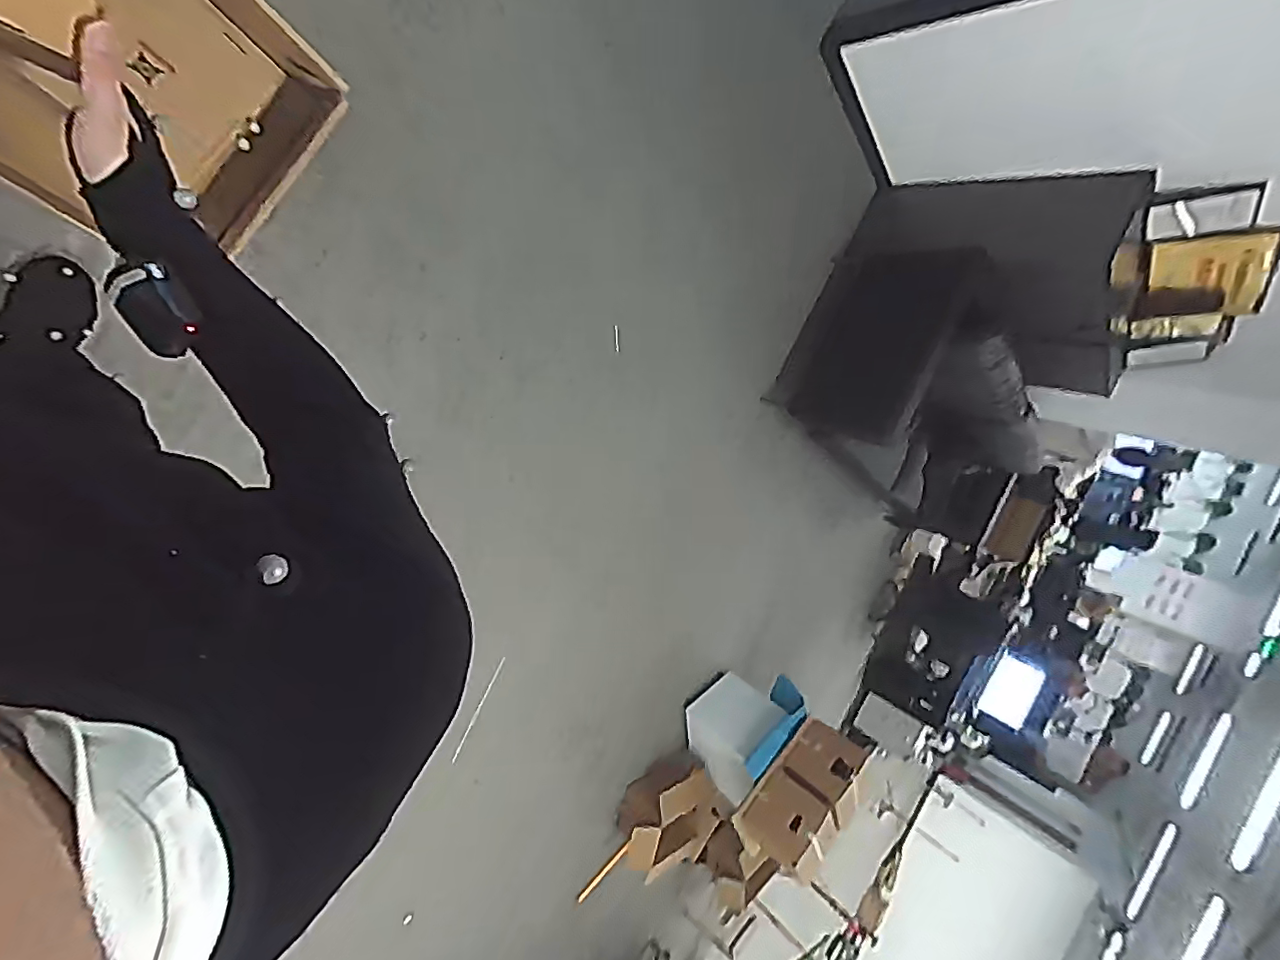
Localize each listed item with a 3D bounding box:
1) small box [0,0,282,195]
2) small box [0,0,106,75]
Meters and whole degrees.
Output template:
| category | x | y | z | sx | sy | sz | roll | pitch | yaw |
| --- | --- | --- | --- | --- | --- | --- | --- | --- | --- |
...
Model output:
| category | x | y | z | sx | sy | sz | roll | pitch | yaw |
| --- | --- | --- | --- | --- | --- | --- | --- | --- | --- |
| small box | -0.565 | -0.461 | 0.624 | 0.179 | 0.176 | 0.168 | -56 | 136 | -8 |
| small box | -0.476 | -0.418 | 0.367 | 0.168 | 0.176 | 0.179 | 7 | 109 | -48 |
